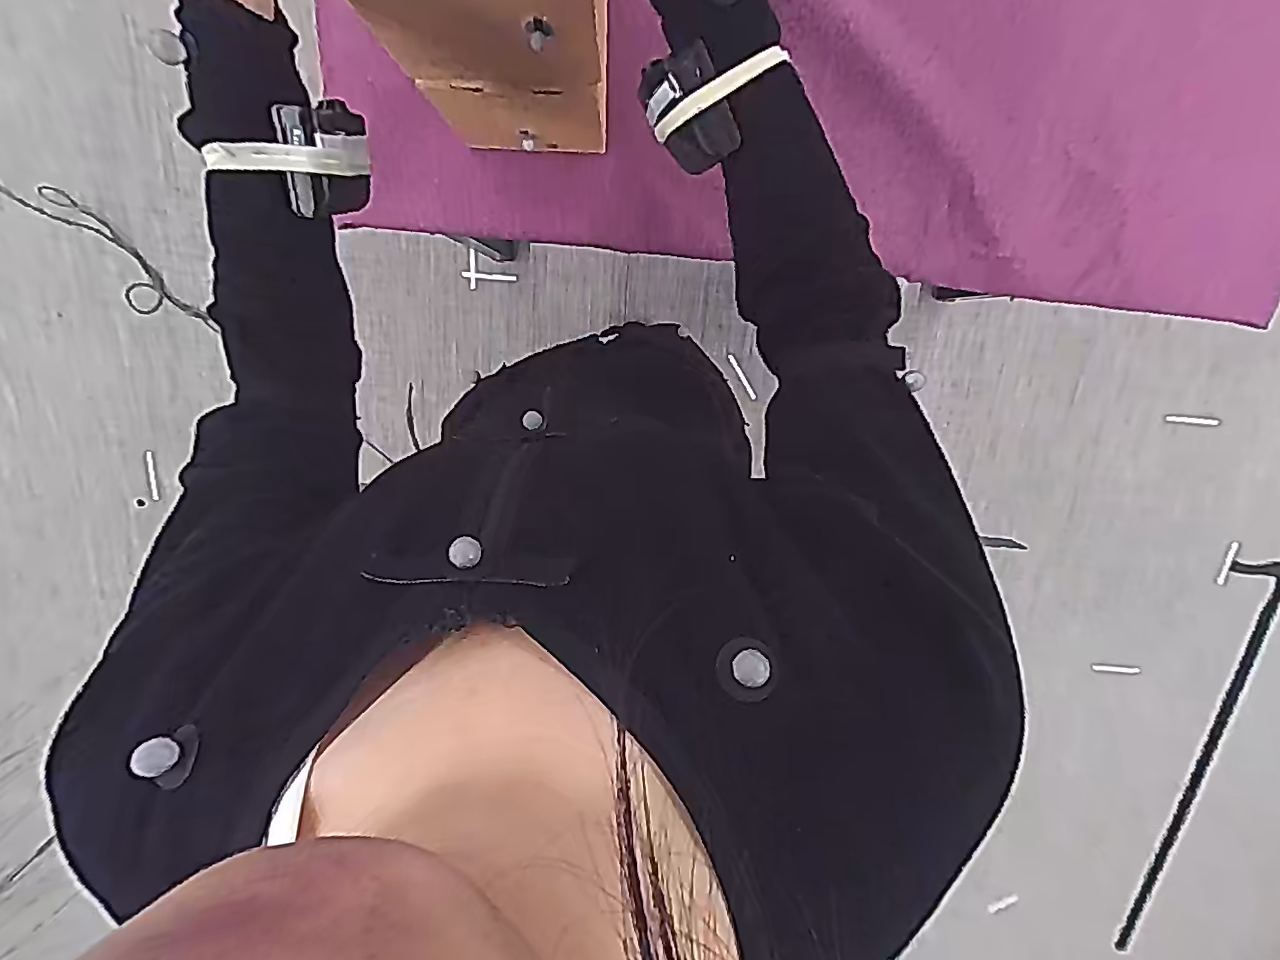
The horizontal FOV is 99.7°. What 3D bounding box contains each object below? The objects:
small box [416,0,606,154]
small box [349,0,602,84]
[{"bbox_3d":[-0.121,-0.458,0.546,0.168,0.176,0.179,2,105,-2],"label":"small box"},{"bbox_3d":[-0.117,-0.418,0.389,0.179,0.176,0.168,0,103,-1],"label":"small box"}]
